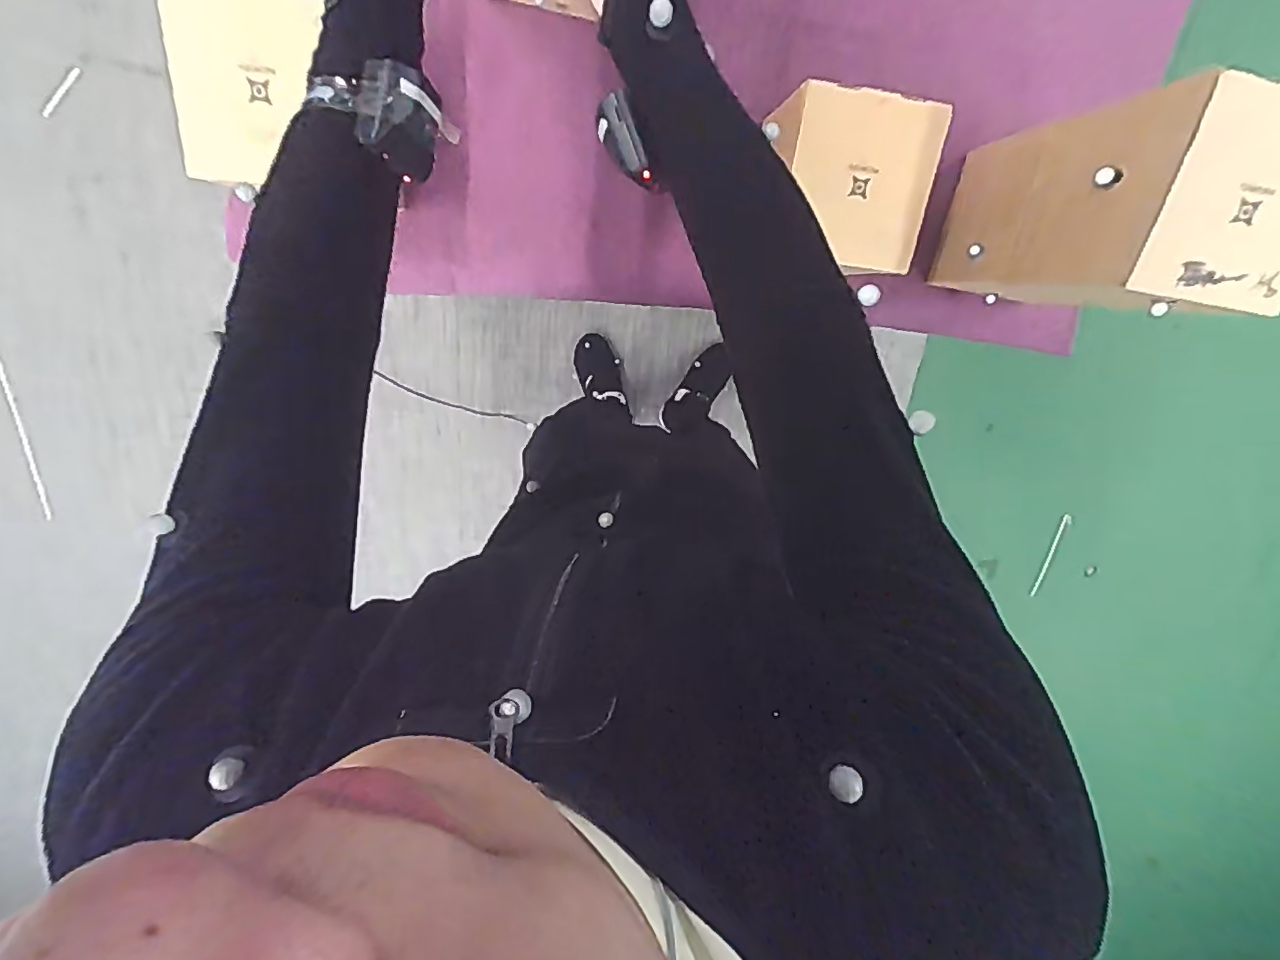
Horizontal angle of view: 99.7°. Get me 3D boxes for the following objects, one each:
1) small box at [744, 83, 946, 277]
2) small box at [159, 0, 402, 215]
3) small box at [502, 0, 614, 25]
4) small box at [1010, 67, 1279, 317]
[{"bbox_3d":[0.238,-0.357,0.679,0.168,0.176,0.179,5,108,-5],"label":"small box"},{"bbox_3d":[-0.383,-0.413,0.612,0.168,0.176,0.179,4,110,-5],"label":"small box"},{"bbox_3d":[-0.096,-0.622,0.553,0.168,0.176,0.179,8,111,-7],"label":"small box"},{"bbox_3d":[0.529,-0.272,0.552,0.168,0.176,0.179,8,109,-6],"label":"small box"}]
